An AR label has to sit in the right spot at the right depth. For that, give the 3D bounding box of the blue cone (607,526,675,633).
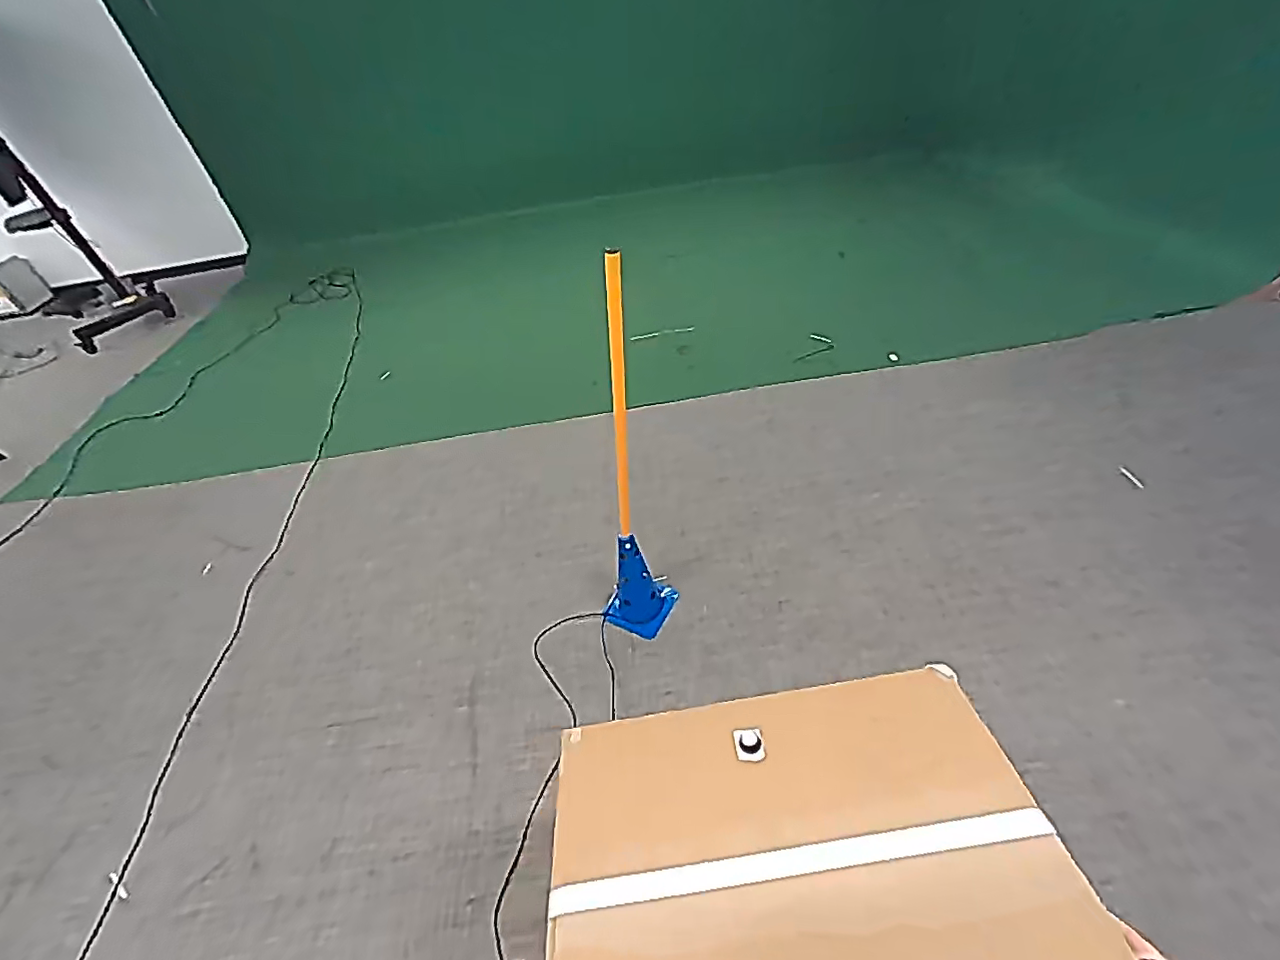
[{"bbox_3d":[-0.015,0.277,1.638,0.192,0.380,0.193,15,47,23],"label":"blue cone"}]
